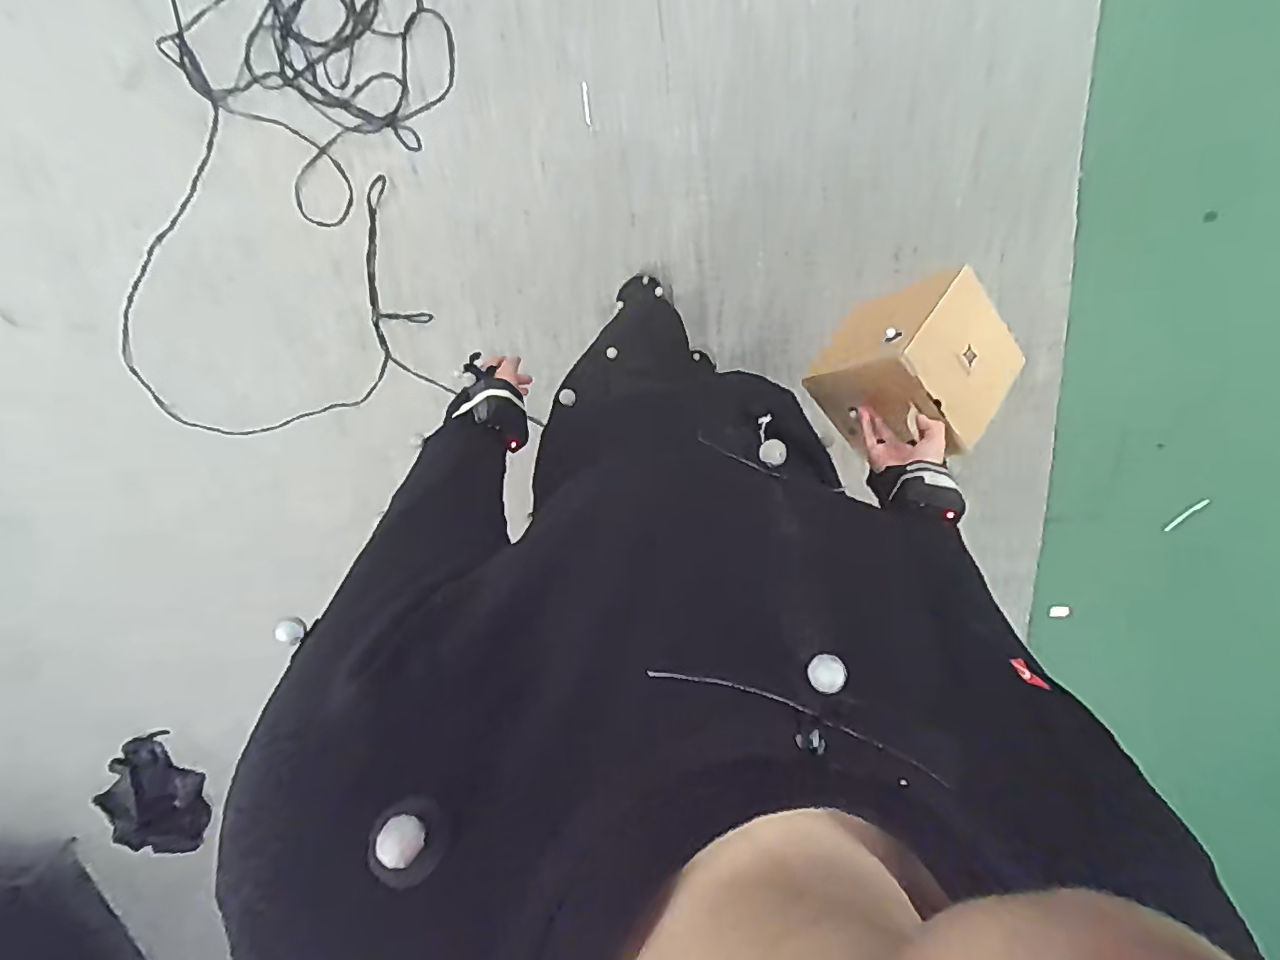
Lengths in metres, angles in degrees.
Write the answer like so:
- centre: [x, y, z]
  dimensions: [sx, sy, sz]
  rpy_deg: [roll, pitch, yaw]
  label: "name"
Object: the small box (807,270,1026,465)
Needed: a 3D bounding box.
- centre: [0.360, -0.138, 0.722]
  dimensions: [0.168, 0.176, 0.179]
  rpy_deg: [46, 72, -17]
  label: "small box"
